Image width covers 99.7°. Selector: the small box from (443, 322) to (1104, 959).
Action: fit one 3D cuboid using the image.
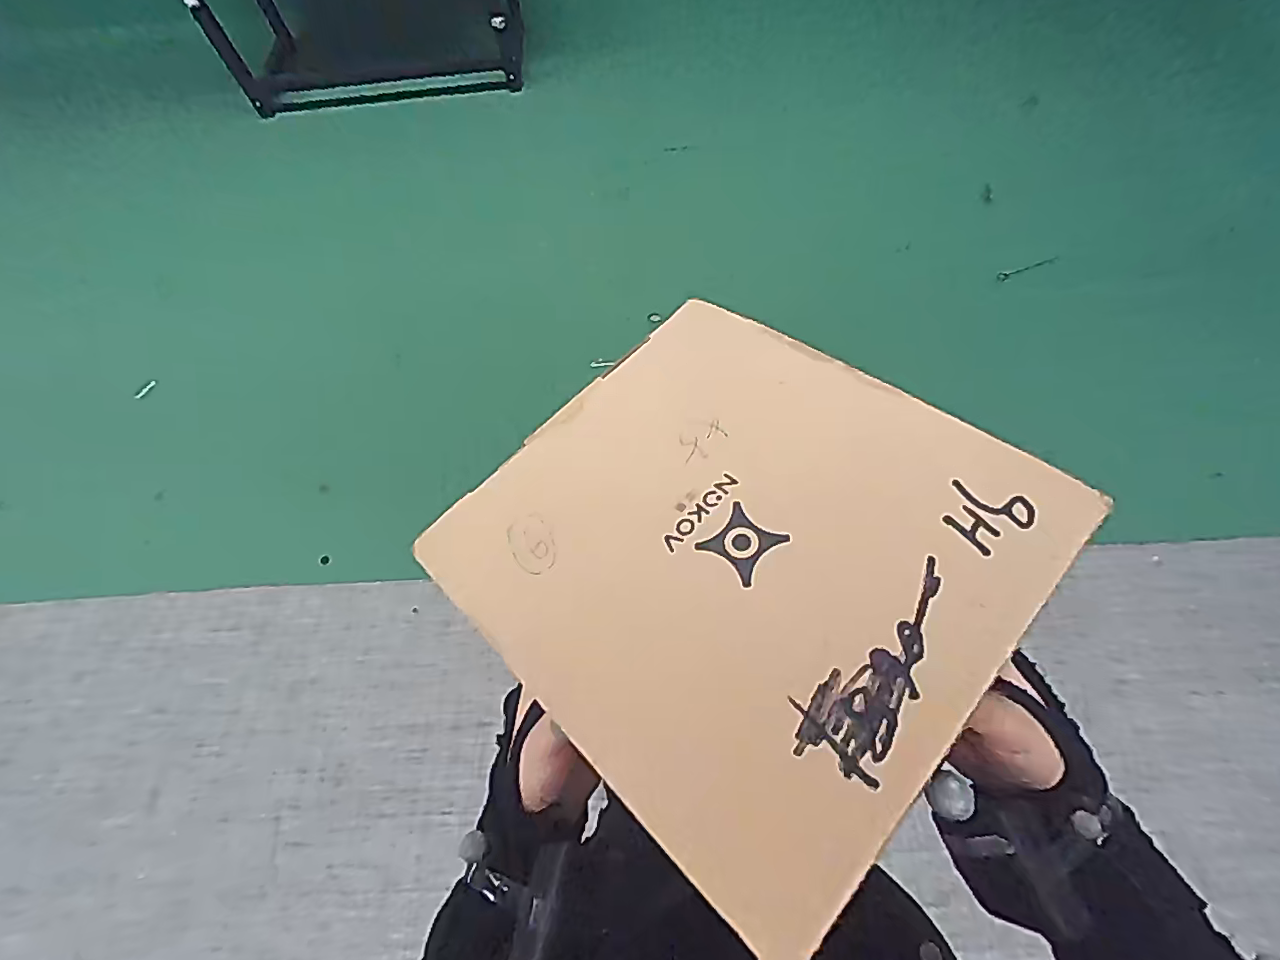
[{"bbox_3d":[0.050,0.064,0.260,0.179,0.176,0.168,37,74,29],"label":"small box"}]
